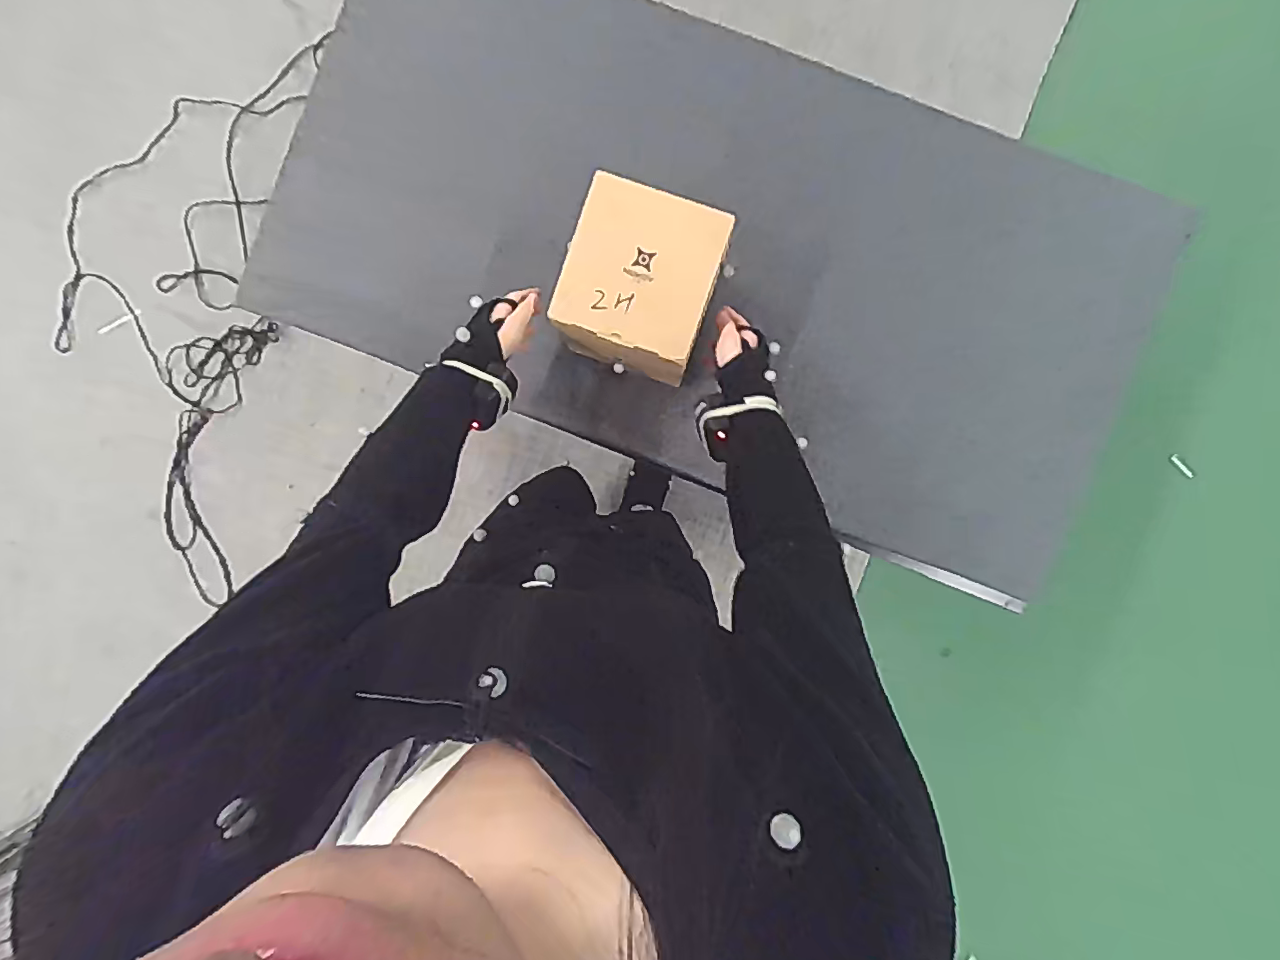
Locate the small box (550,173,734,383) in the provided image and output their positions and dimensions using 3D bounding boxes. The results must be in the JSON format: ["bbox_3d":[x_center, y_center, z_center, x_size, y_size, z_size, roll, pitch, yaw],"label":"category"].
[{"bbox_3d":[0.003,-0.239,0.686,0.168,0.176,0.179,19,92,1],"label":"small box"}]
